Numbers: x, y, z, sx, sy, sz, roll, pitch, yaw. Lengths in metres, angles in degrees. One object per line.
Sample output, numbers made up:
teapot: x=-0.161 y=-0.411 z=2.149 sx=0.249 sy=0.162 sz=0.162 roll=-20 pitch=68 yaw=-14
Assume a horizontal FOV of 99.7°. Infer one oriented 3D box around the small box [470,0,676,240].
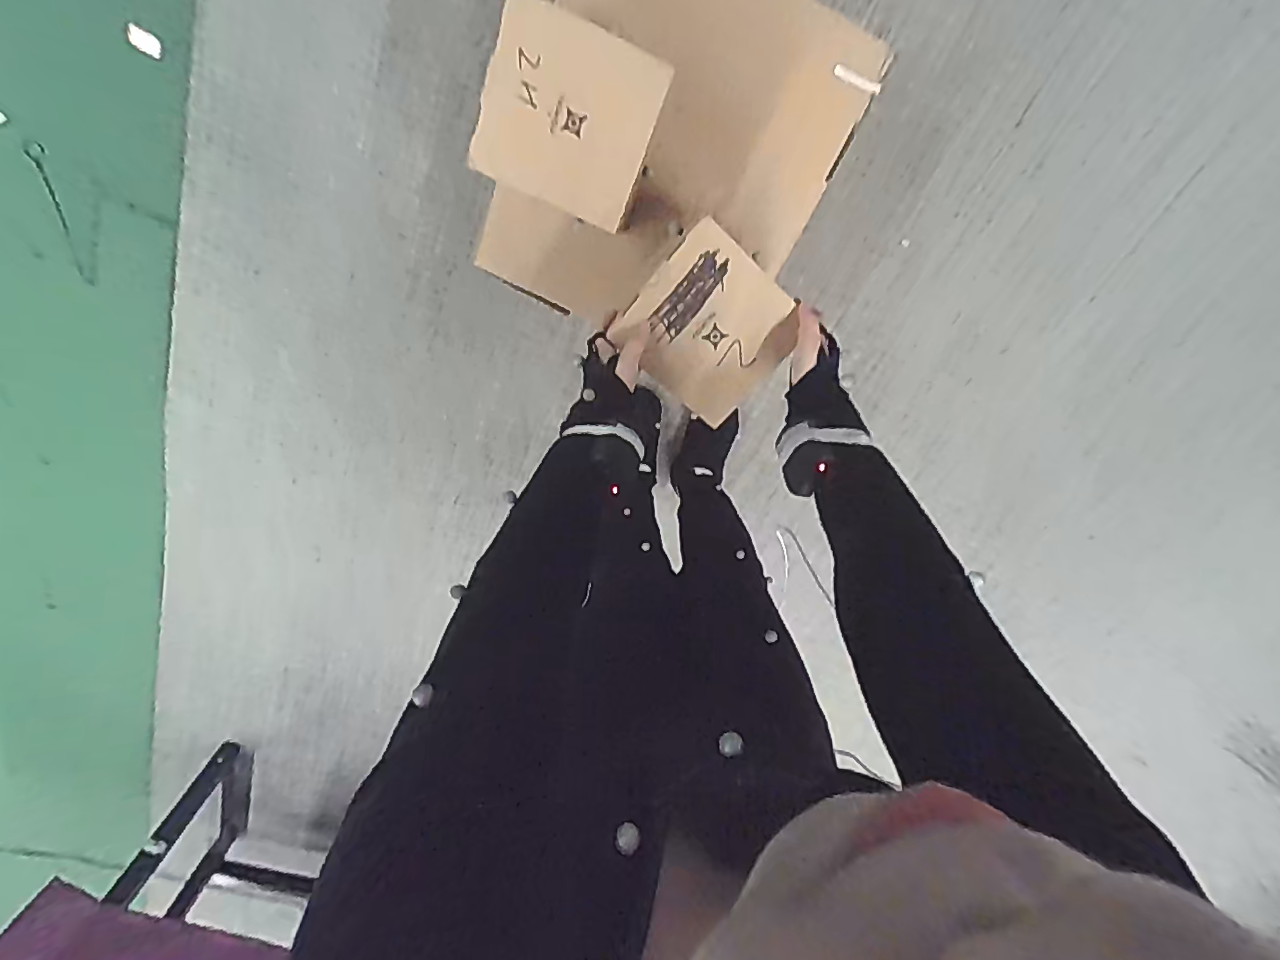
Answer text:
small box: x=-0.072 y=-0.403 z=0.635 sx=0.179 sy=0.176 sz=0.168 roll=22 pitch=113 yaw=-9
